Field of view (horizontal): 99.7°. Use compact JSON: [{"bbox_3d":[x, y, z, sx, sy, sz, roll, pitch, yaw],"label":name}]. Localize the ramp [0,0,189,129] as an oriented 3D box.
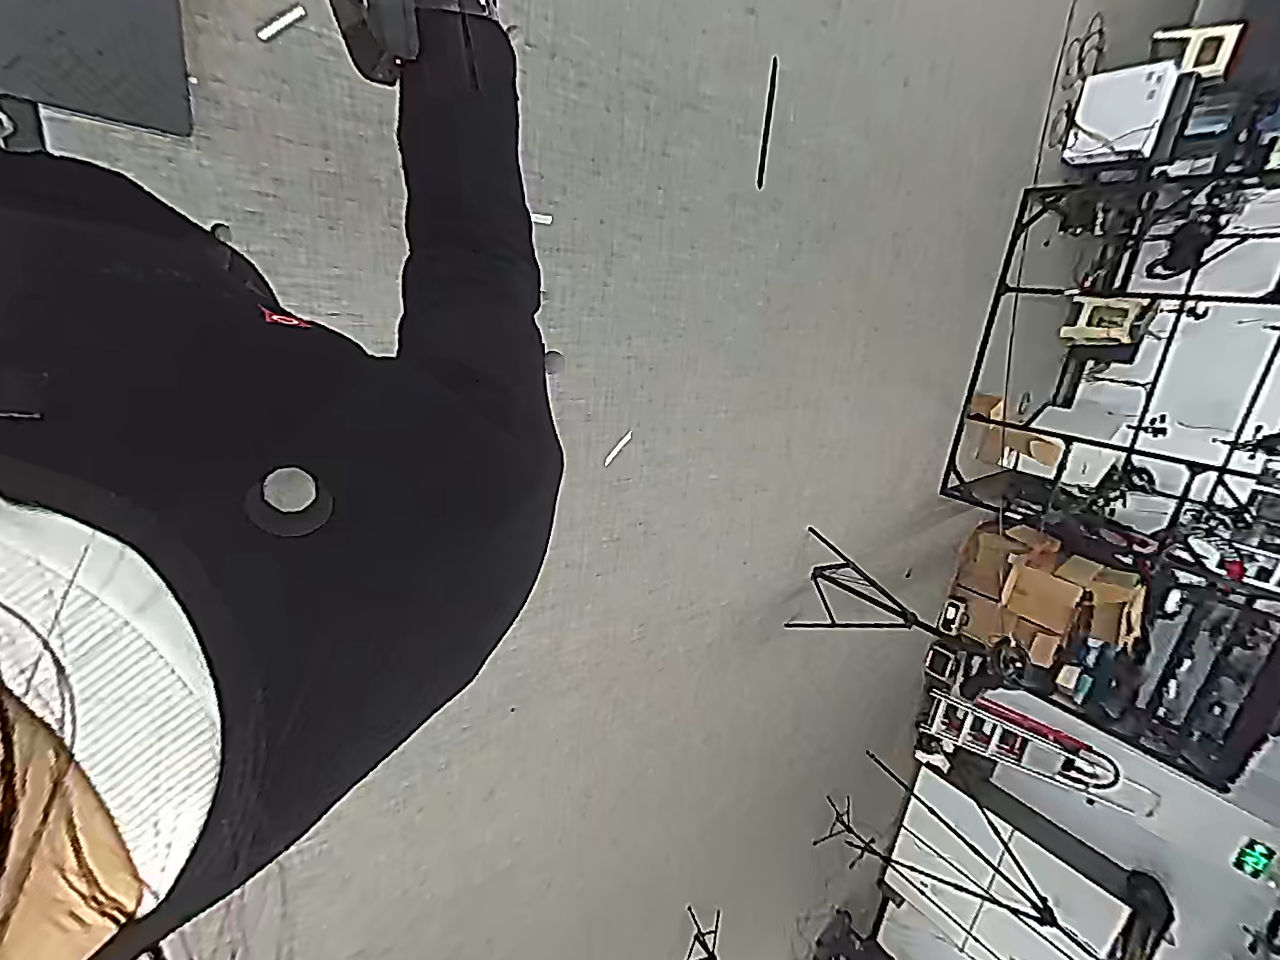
[{"bbox_3d":[-0.922,-1.071,0.666,0.509,0.206,0.991,-9,114,-39],"label":"ramp"}]
